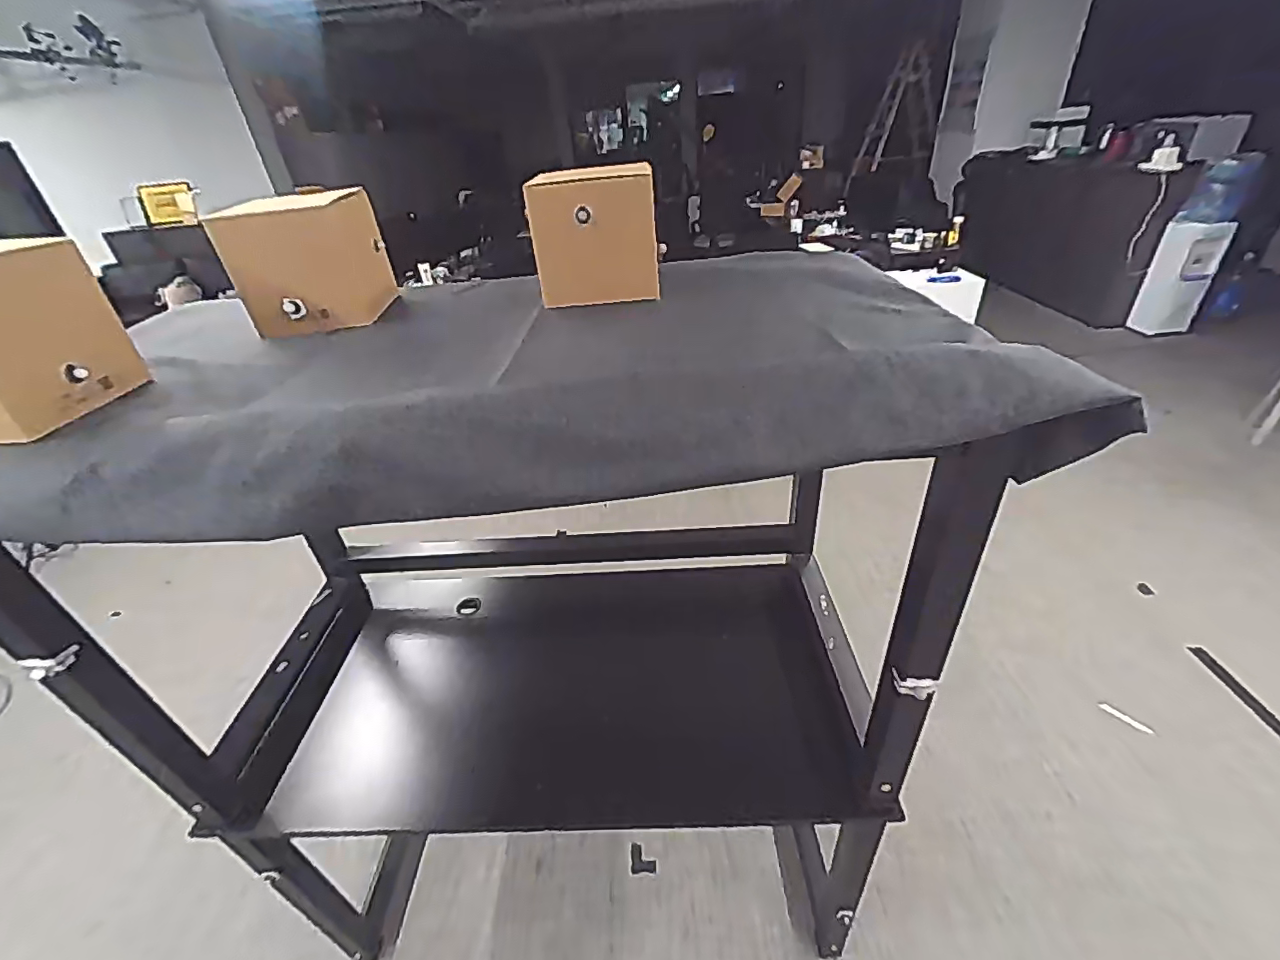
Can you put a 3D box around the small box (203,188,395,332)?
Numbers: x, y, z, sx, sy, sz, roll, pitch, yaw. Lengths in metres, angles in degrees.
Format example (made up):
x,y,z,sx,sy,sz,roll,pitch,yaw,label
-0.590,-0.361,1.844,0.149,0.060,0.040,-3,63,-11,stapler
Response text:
x,y,z,sx,sy,sz,roll,pitch,yaw,label
-0.496,-0.337,0.824,0.168,0.176,0.179,-8,34,-2,small box

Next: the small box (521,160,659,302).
x,y,z,sx,sy,sz,roll,pitch,yaw,label
-0.065,-0.378,0.823,0.179,0.176,0.168,-4,34,3,small box
